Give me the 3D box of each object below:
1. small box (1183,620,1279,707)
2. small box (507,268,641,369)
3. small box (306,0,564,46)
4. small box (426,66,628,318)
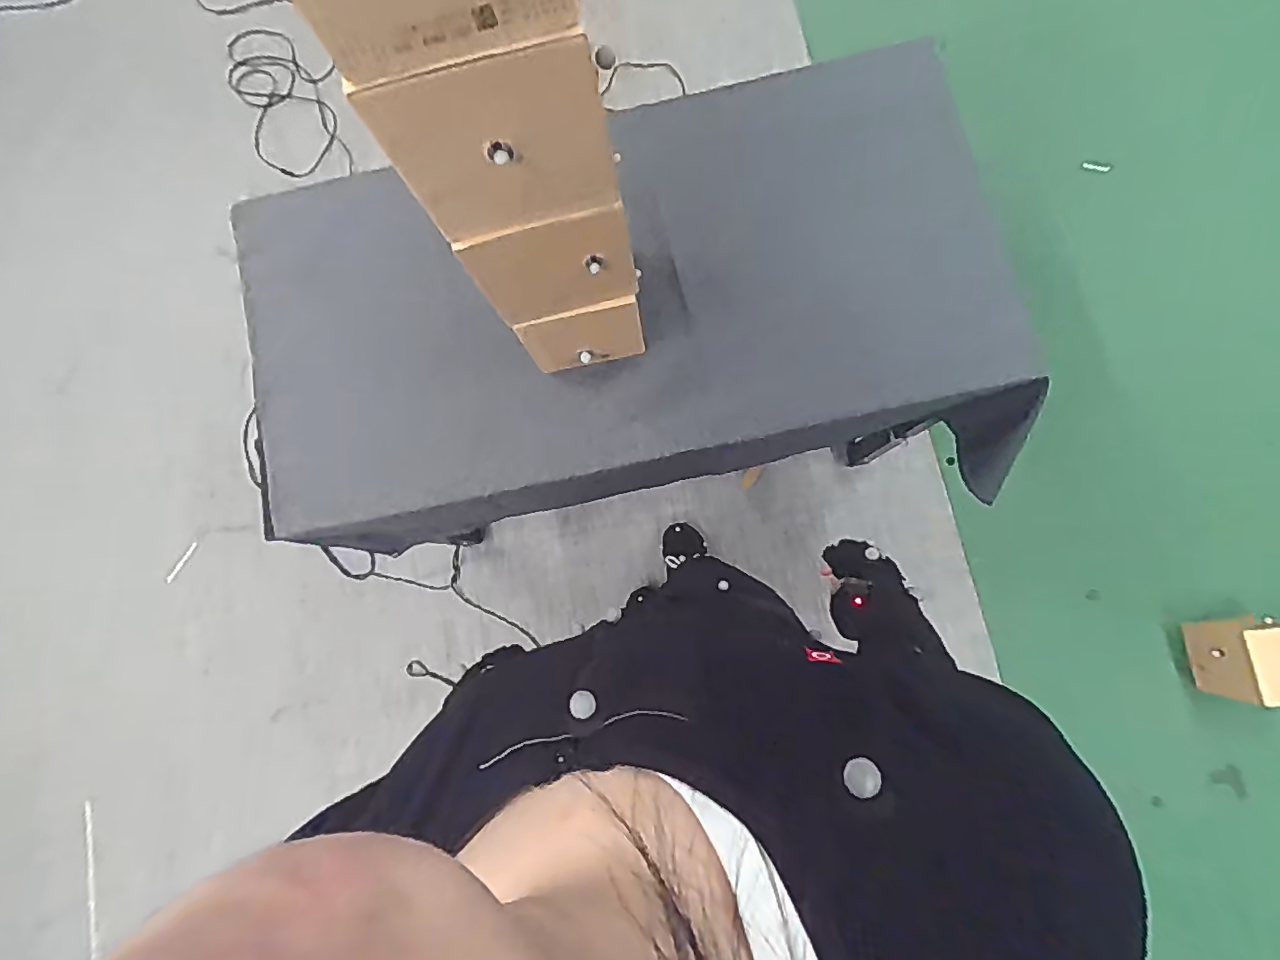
[{"bbox_3d":[1.451,0.427,1.279,0.179,0.176,0.168,-7,80,3],"label":"small box"},{"bbox_3d":[-0.097,-0.281,0.776,0.168,0.176,0.179,-11,80,3],"label":"small box"},{"bbox_3d":[-0.145,-0.389,0.300,0.168,0.176,0.179,-13,79,2],"label":"small box"},{"bbox_3d":[-0.114,-0.311,0.616,0.179,0.176,0.168,-13,78,2],"label":"small box"}]
